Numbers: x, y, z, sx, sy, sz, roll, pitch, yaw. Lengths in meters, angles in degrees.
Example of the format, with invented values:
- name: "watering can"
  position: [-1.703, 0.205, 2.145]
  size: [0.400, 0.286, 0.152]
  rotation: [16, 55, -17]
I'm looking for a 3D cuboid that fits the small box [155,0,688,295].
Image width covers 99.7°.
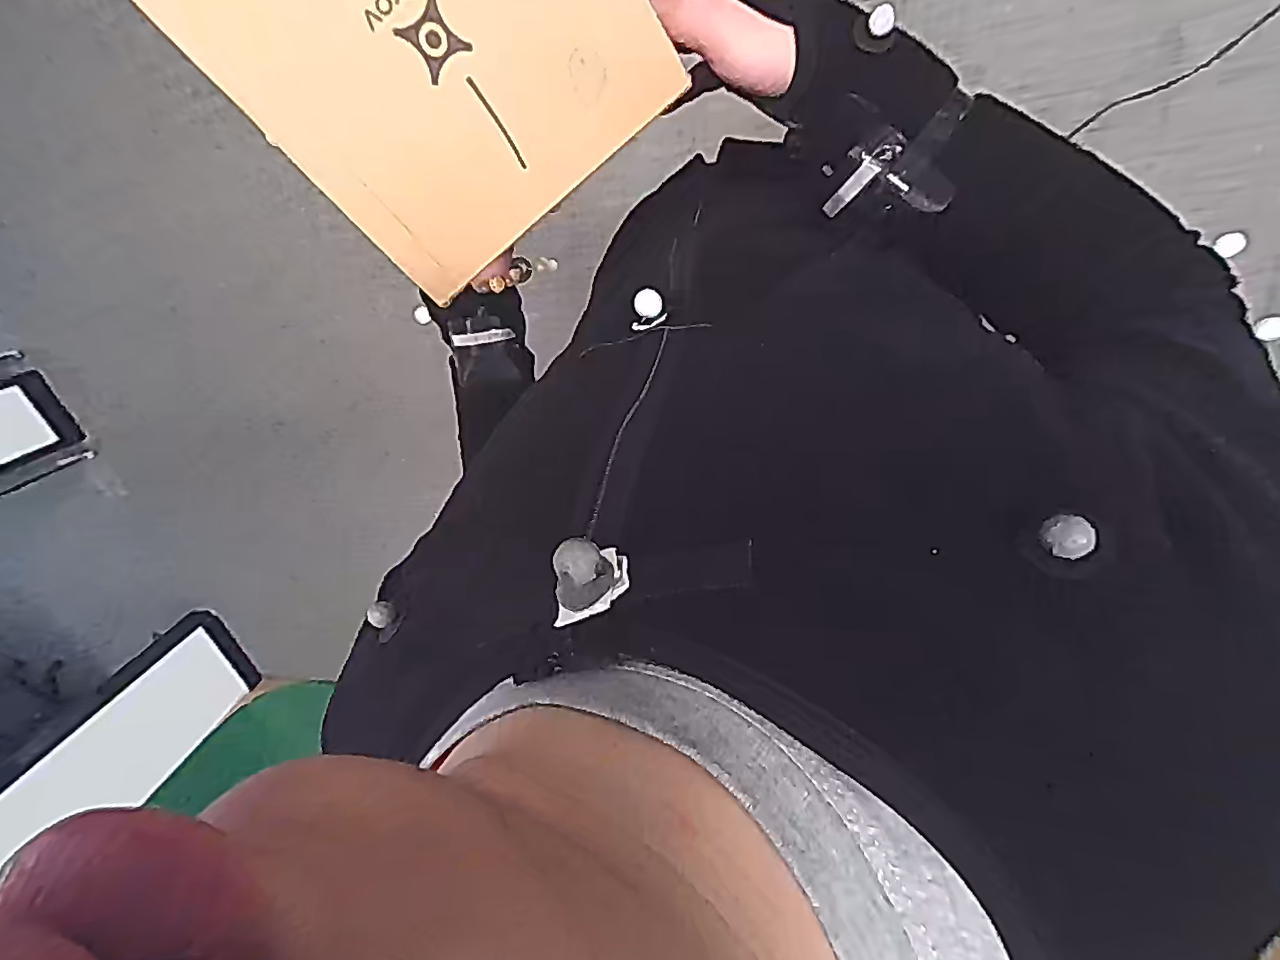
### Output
- name: "small box"
  position: [-0.105, -0.236, 0.291]
  size: [0.168, 0.176, 0.179]
  rotation: [-36, 124, 11]
